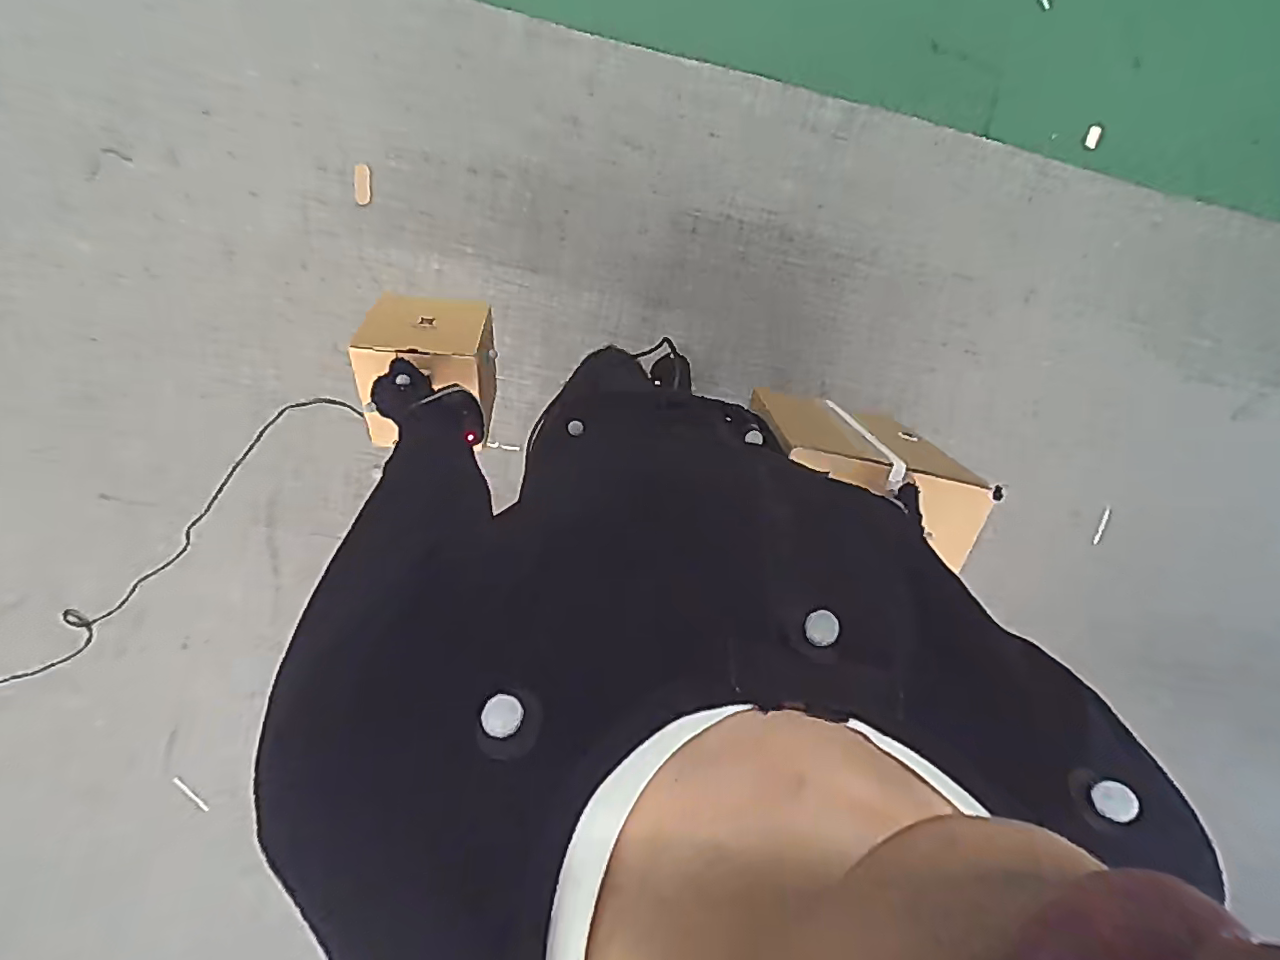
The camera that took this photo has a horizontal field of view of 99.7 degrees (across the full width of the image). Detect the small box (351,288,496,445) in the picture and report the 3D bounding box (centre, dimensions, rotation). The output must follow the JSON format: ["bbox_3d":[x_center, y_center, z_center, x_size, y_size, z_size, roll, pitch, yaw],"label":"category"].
[{"bbox_3d":[-0.319,-0.175,0.837,0.168,0.179,0.176,1,133,-8],"label":"small box"}]
